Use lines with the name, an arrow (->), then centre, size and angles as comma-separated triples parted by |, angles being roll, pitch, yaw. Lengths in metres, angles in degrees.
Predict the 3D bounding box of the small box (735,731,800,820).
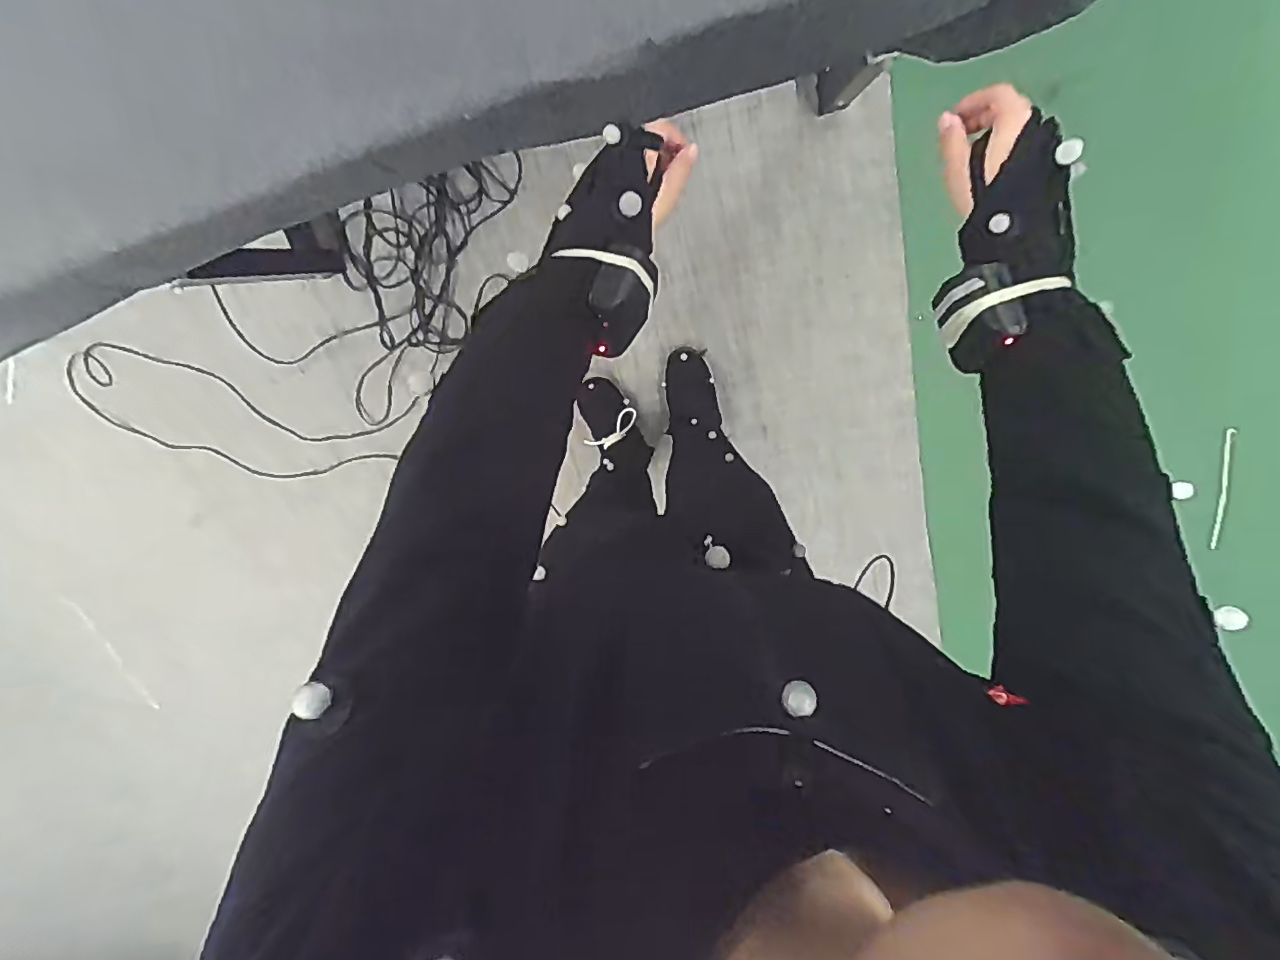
small box -> 0.383, 0.894, 1.640 | 0.168, 0.176, 0.179 | -9, 111, 9
